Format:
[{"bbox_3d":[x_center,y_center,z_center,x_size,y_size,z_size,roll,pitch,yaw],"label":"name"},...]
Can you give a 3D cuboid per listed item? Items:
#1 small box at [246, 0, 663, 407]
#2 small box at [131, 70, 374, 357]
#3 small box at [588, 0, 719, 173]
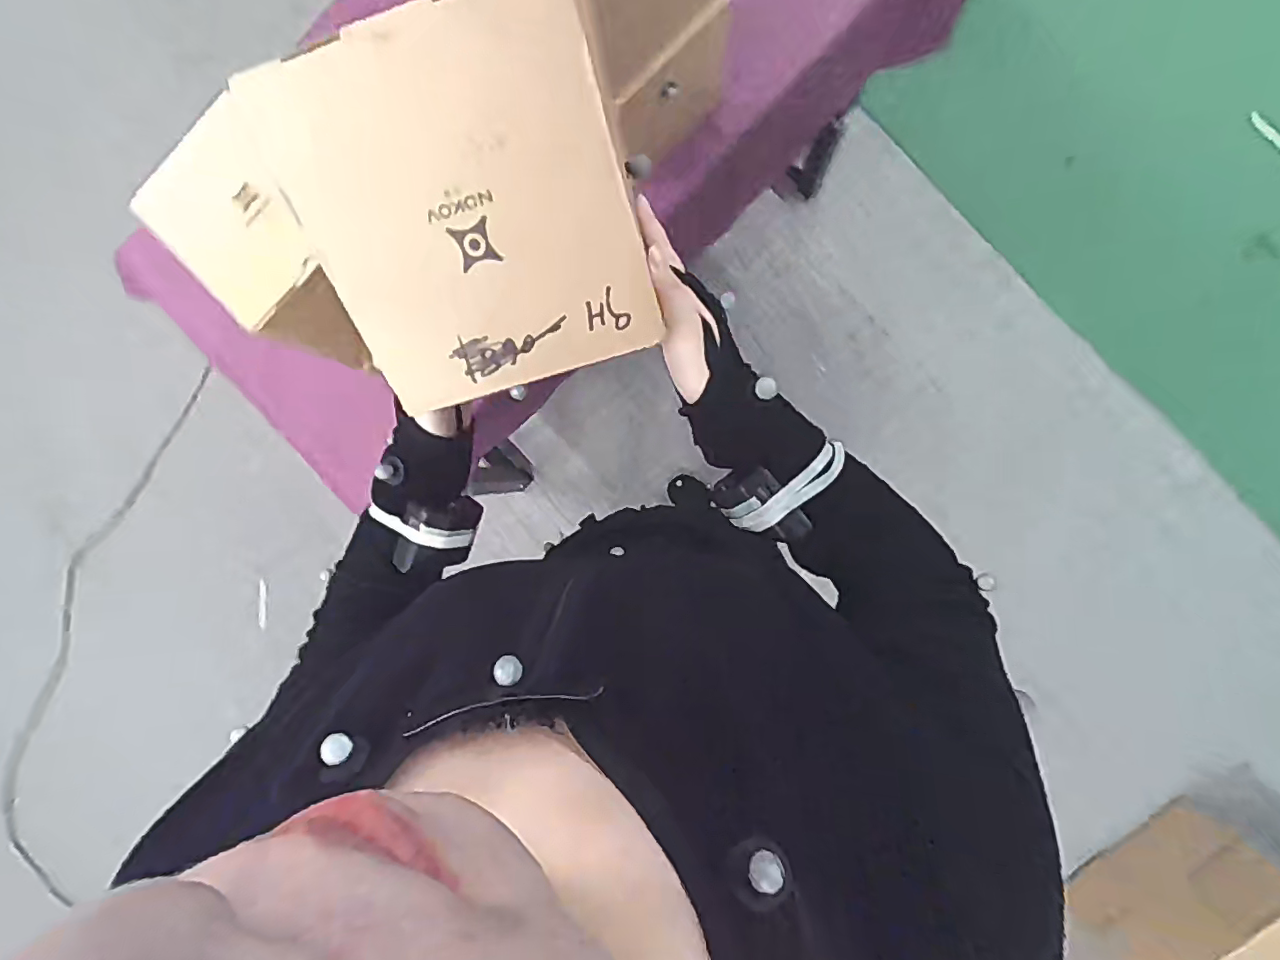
[{"bbox_3d":[-0.086,-0.173,0.350,0.168,0.176,0.179,-12,119,8],"label":"small box"},{"bbox_3d":[-0.345,-0.254,0.566,0.179,0.176,0.168,45,94,3],"label":"small box"},{"bbox_3d":[-0.015,-0.542,0.693,0.179,0.176,0.168,-43,87,4],"label":"small box"}]
